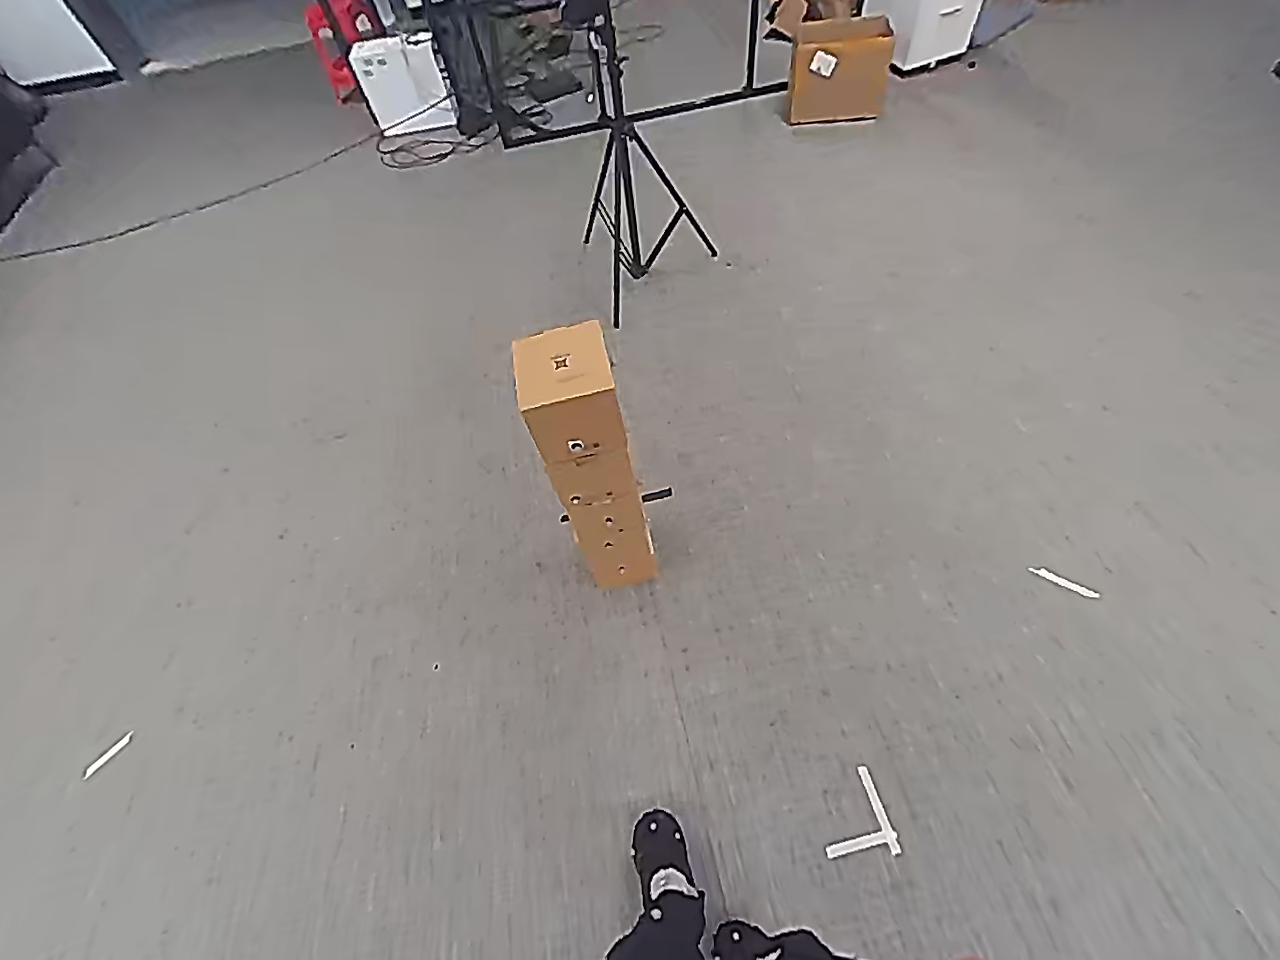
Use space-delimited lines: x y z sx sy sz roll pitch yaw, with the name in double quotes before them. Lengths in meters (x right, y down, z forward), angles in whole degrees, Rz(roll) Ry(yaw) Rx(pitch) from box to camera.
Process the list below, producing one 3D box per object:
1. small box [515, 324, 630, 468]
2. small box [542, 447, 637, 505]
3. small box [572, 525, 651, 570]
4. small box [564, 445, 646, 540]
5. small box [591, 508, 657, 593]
"small box" -0.122 -0.150 0.994 0.168 0.176 0.179 -14 58 0
"small box" -0.107 -0.063 1.130 0.168 0.176 0.179 -12 56 0
"small box" -0.076 0.119 1.401 0.179 0.176 0.168 -11 58 1
"small box" -0.085 0.027 1.266 0.168 0.176 0.179 -11 58 0
"small box" -0.052 0.203 1.540 0.179 0.176 0.168 -13 57 -1
